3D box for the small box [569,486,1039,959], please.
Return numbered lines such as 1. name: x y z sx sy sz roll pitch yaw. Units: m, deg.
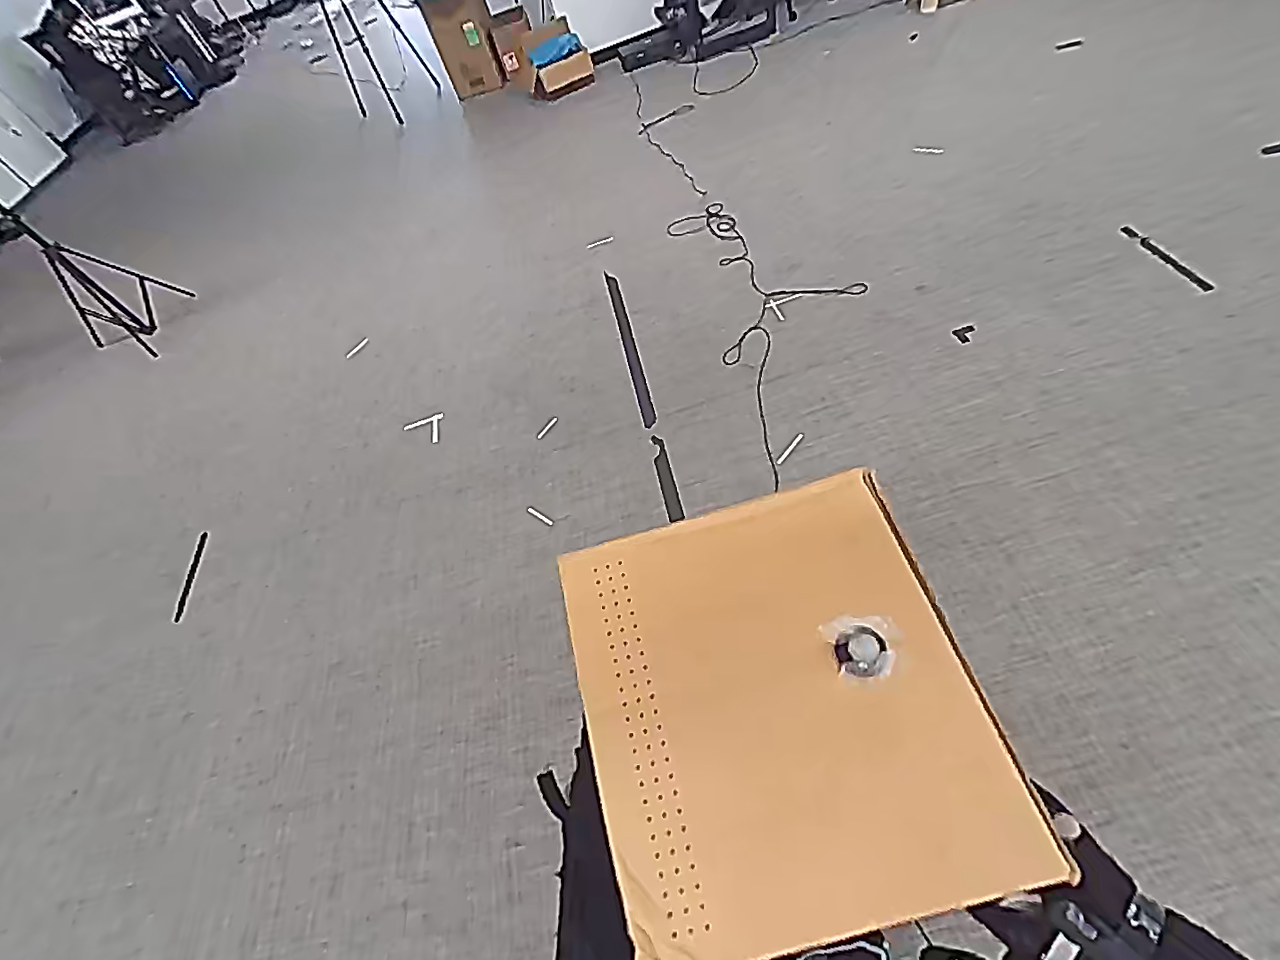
1. small box: 0.066 0.134 0.316 0.176 0.168 0.179 -17 62 2
